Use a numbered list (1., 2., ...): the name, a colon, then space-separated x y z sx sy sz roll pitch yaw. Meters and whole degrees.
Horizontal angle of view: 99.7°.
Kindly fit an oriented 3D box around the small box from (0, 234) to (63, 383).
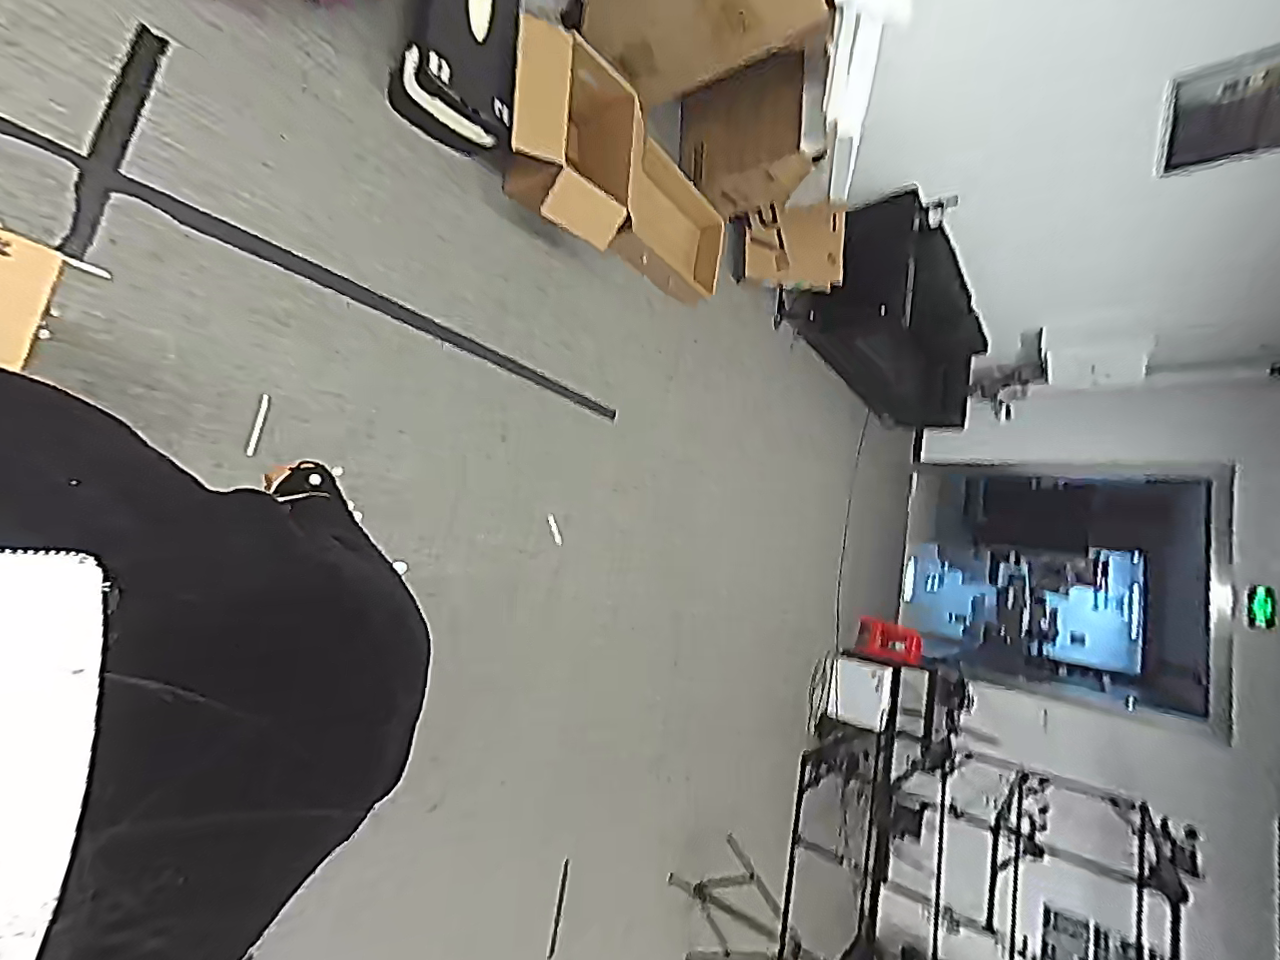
1. small box: -0.893 -0.236 0.698 0.168 0.176 0.179 21 76 -49
